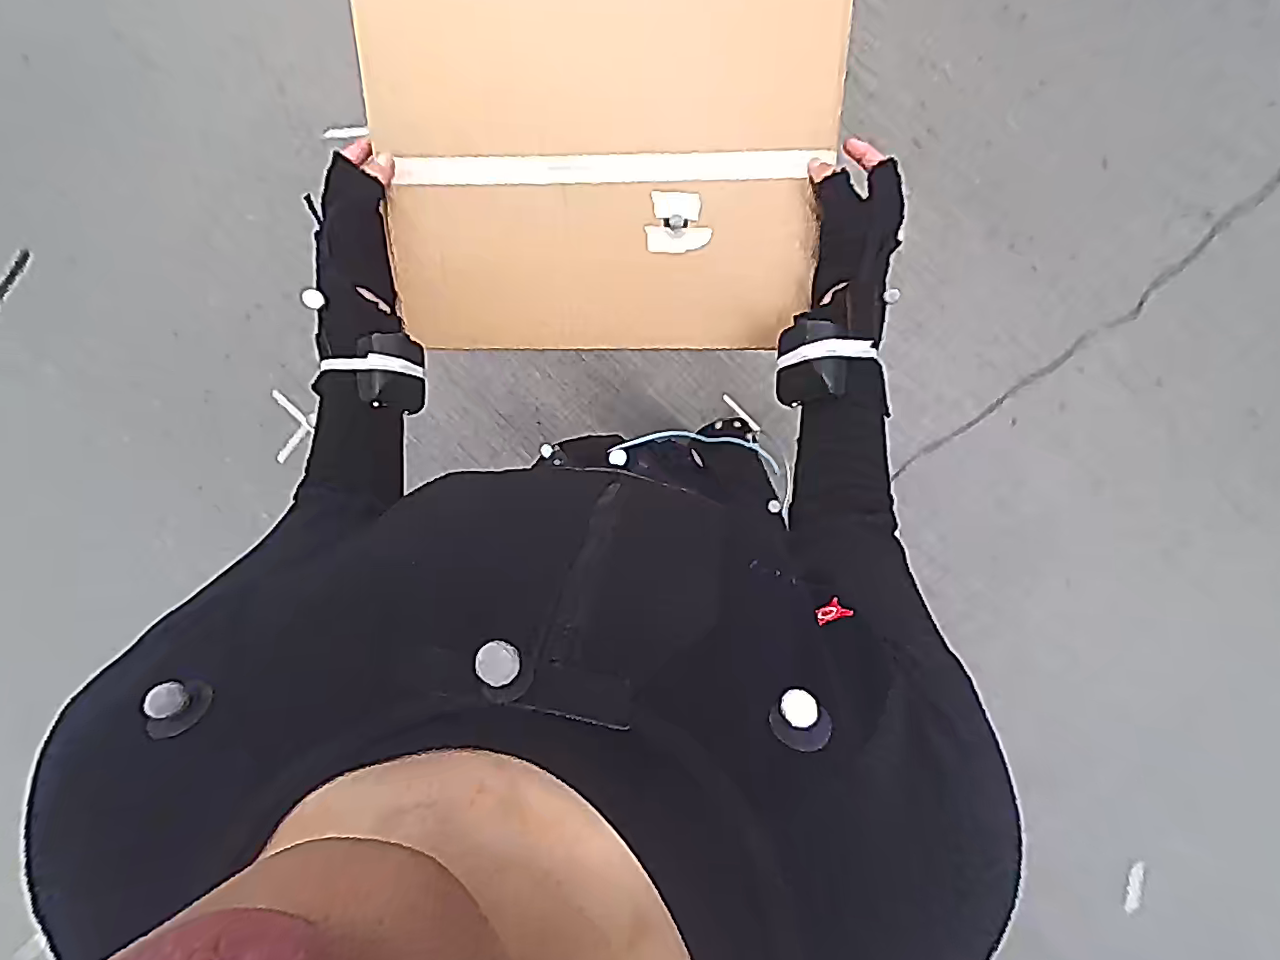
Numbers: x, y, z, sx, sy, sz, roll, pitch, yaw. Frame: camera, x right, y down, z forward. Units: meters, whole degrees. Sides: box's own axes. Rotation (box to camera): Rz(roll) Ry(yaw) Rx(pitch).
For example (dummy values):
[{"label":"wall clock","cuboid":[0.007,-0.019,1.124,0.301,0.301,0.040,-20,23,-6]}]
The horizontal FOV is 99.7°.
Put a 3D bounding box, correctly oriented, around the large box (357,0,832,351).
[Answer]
[{"label":"large box","cuboid":[-0.034,-0.331,0.633,0.408,0.320,0.320,-1,111,2]}]
